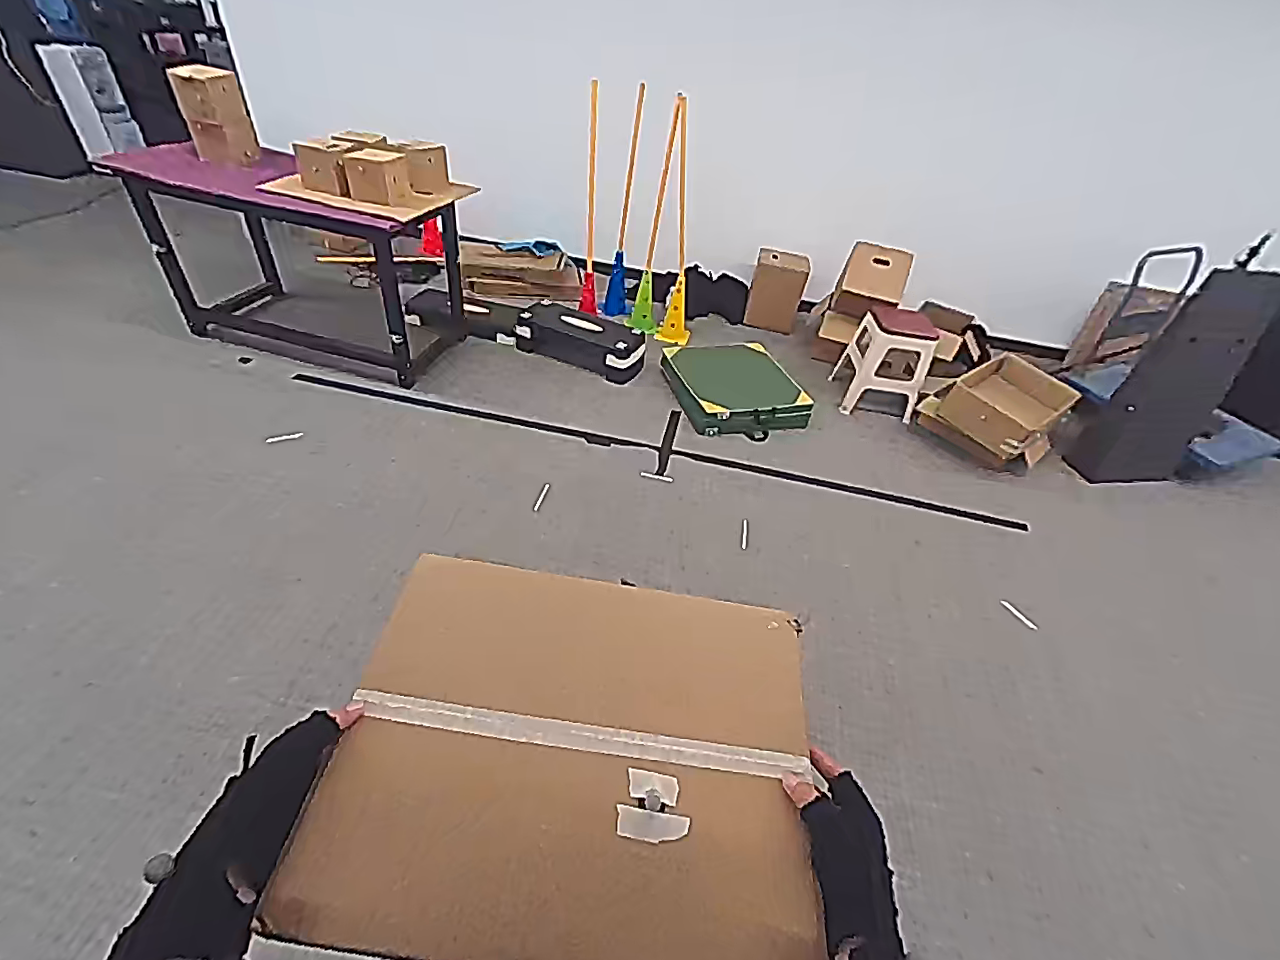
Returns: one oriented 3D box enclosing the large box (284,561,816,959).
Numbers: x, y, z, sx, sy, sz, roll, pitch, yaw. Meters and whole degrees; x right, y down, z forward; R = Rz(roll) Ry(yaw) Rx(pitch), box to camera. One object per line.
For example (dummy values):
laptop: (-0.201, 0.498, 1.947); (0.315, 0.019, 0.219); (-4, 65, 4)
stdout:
large box: (-0.068, 0.327, 0.603); (0.408, 0.320, 0.320); (10, 49, -1)
